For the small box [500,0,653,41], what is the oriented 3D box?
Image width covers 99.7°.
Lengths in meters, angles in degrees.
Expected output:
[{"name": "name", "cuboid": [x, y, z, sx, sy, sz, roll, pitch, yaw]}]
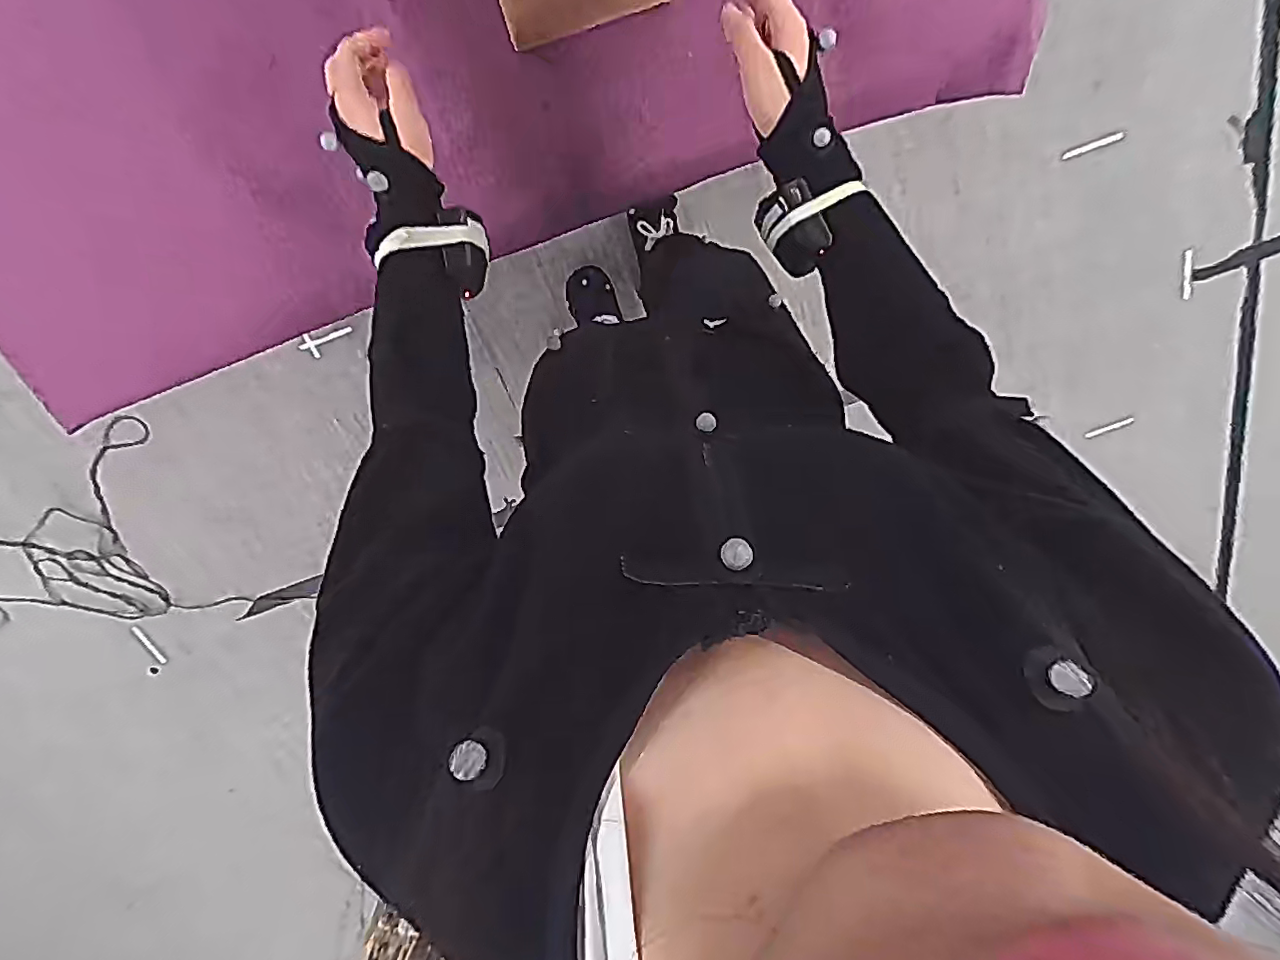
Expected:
[{"name": "small box", "cuboid": [-0.062, -0.515, 0.455, 0.179, 0.176, 0.168, -18, 113, 0]}]

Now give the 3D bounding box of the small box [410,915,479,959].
[{"name": "small box", "cuboid": [-0.608, 1.485, 1.649, 0.168, 0.176, 0.179, 26, 106, -15]}]
